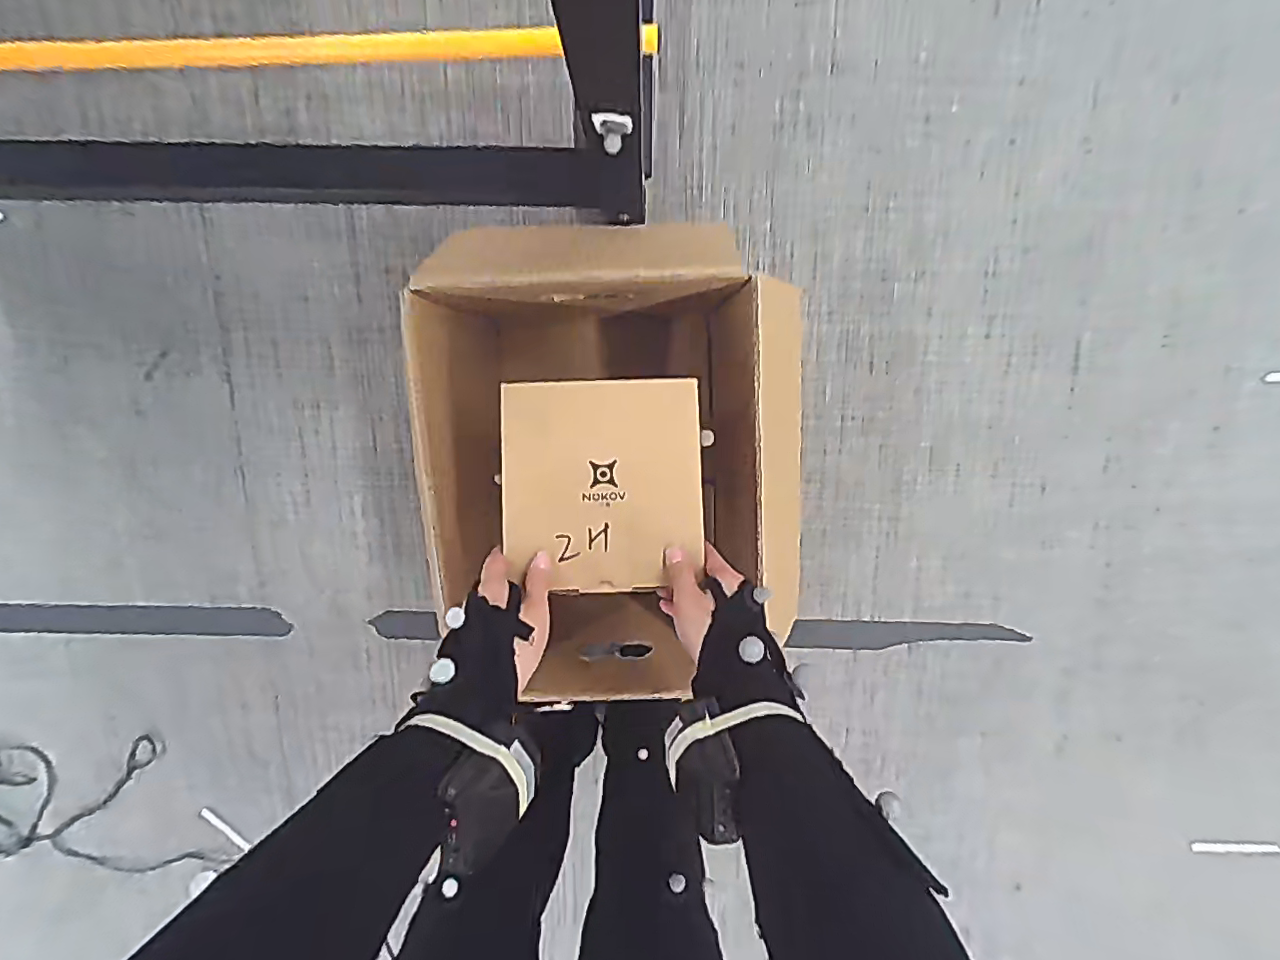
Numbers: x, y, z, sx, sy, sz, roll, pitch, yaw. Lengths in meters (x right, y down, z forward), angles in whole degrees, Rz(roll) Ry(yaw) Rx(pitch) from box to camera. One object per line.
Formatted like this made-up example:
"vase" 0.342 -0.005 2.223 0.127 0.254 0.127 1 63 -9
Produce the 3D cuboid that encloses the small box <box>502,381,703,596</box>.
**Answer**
"small box" -0.033 0.011 0.523 0.168 0.176 0.179 -2 87 -1
